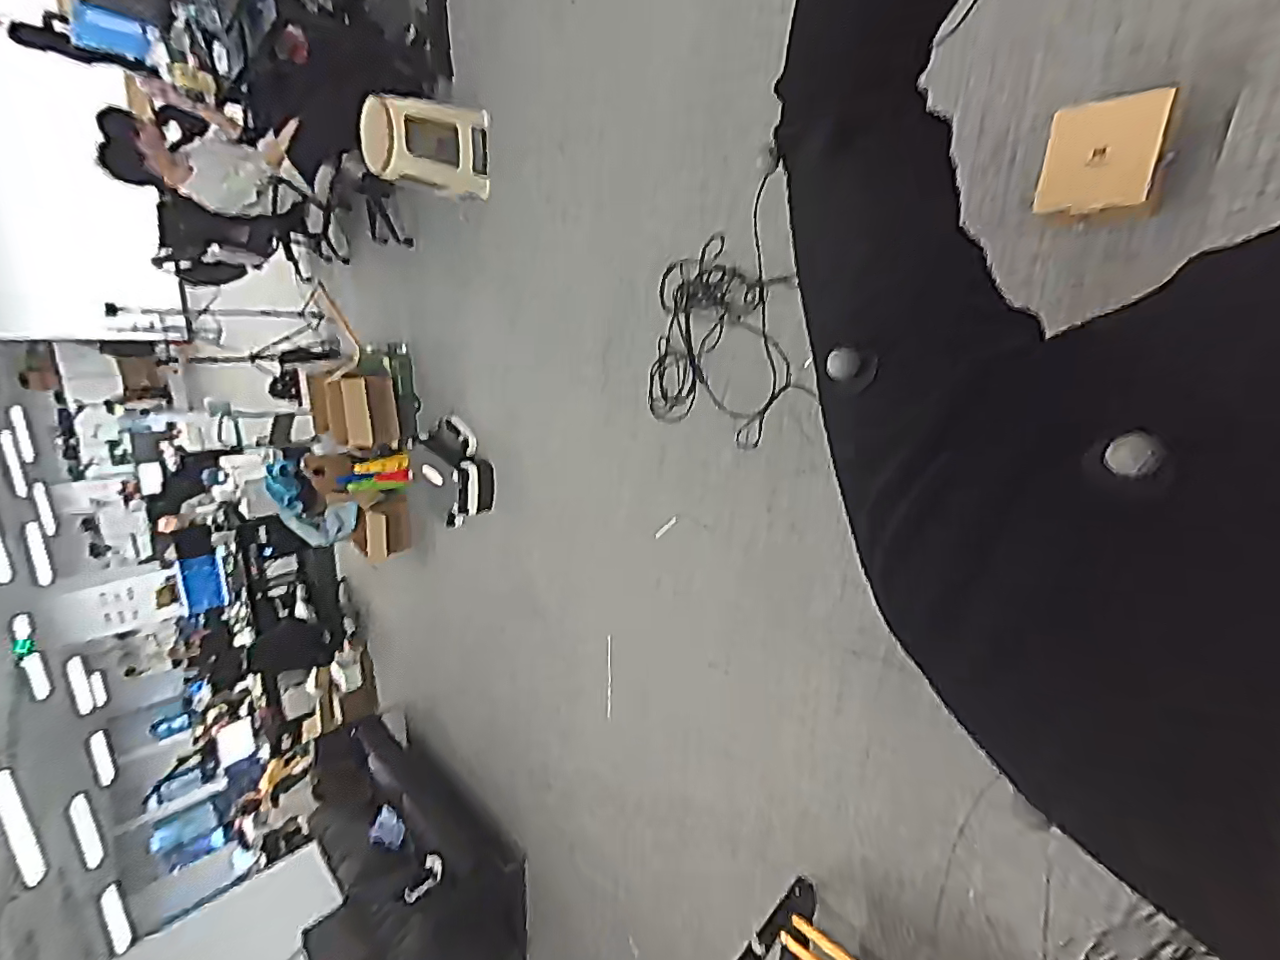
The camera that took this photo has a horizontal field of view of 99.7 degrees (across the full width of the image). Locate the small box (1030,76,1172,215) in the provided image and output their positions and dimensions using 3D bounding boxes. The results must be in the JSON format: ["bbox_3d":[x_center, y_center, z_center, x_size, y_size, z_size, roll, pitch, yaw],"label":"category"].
[{"bbox_3d":[0.869,-0.616,1.022,0.168,0.176,0.179,17,113,42],"label":"small box"}]
